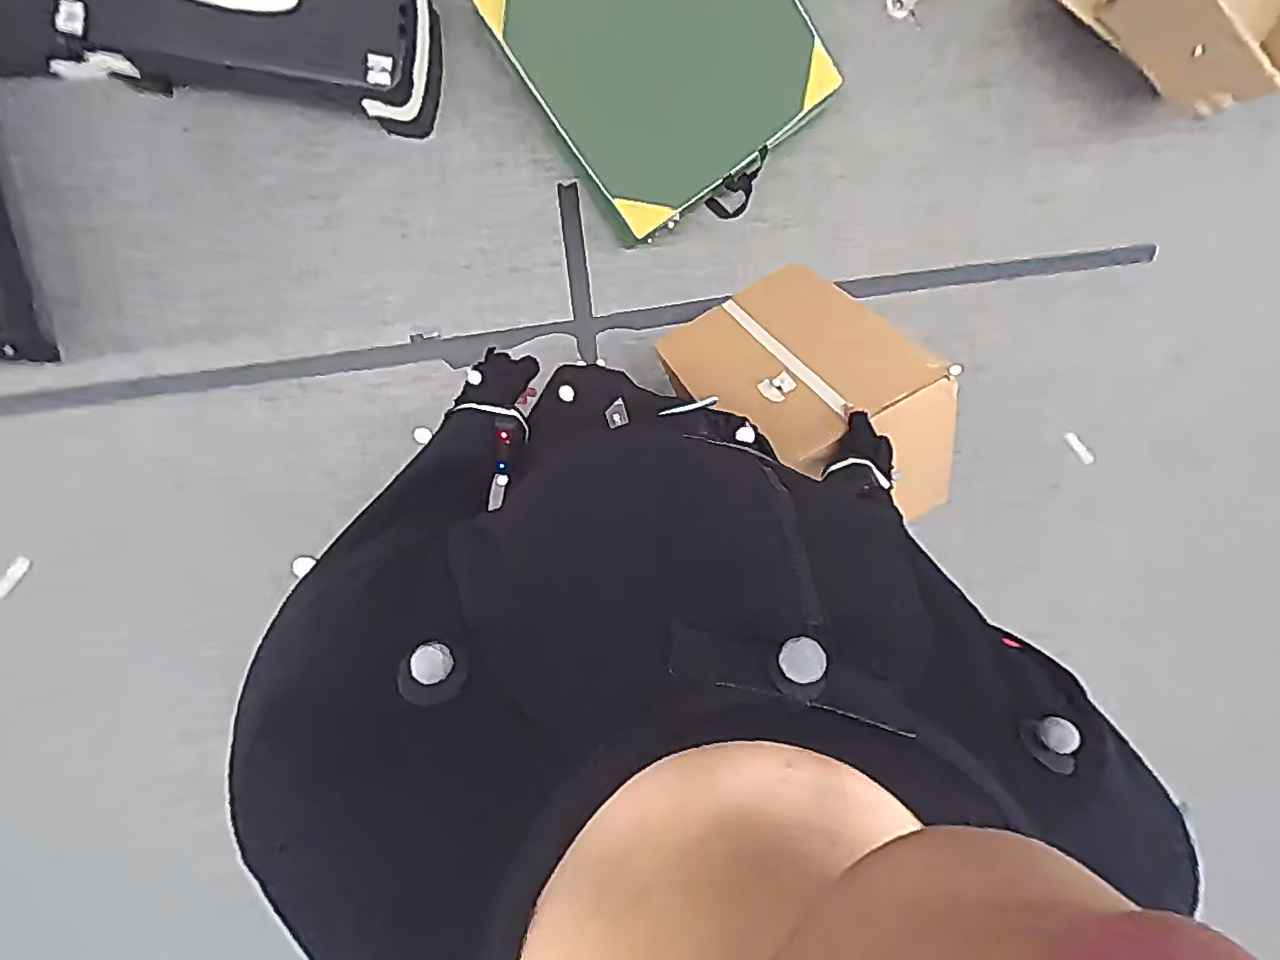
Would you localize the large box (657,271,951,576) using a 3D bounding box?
[{"bbox_3d":[0.280,-0.108,0.994,0.320,0.408,0.320,-29,137,2],"label":"large box"}]
